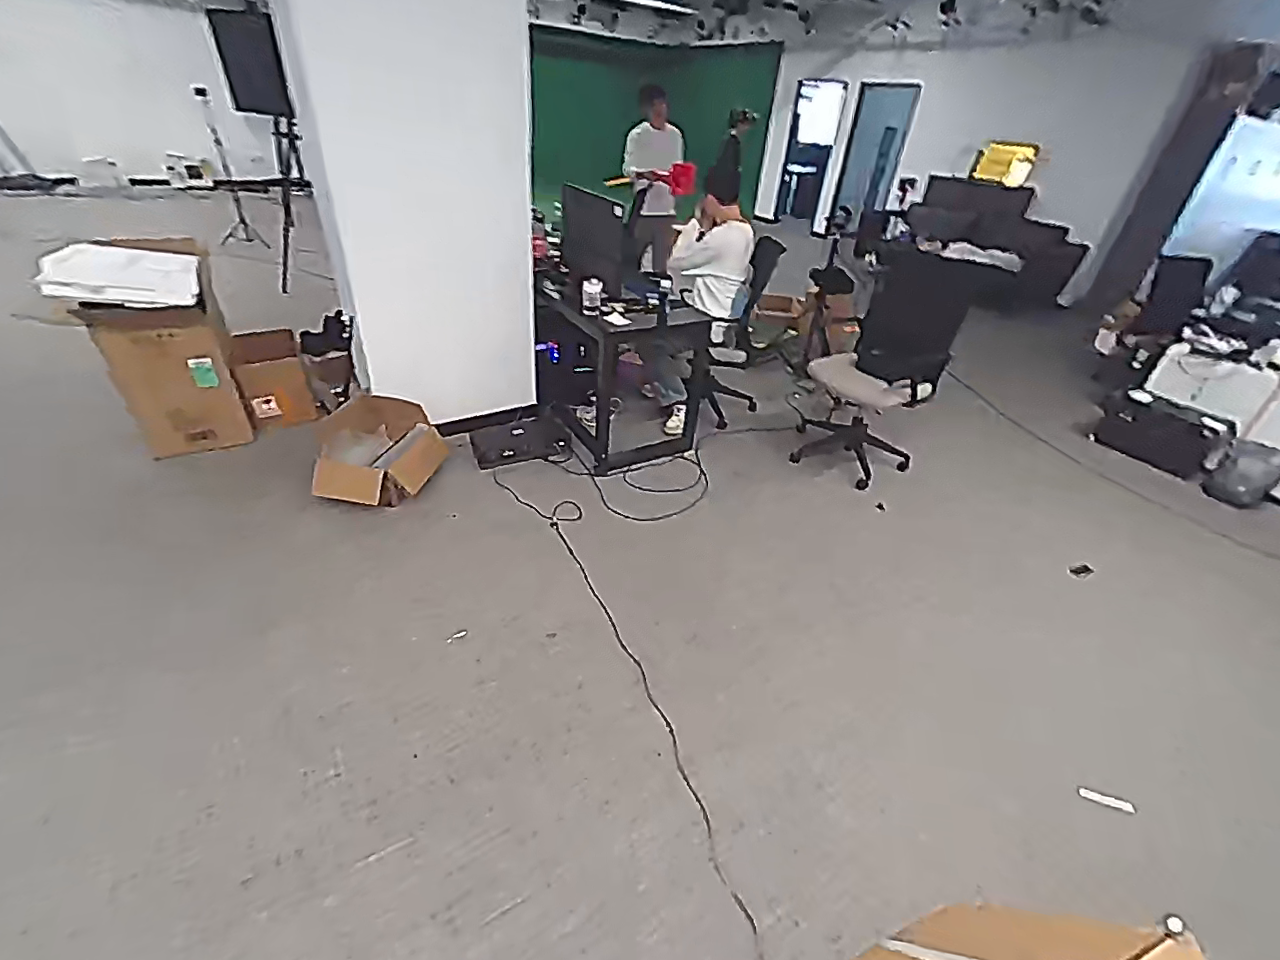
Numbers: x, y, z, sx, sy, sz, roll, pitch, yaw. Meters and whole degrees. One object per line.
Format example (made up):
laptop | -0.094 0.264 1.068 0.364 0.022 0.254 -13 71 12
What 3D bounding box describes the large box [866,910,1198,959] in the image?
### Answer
large box | 0.465 0.755 0.615 0.320 0.408 0.320 -14 60 -18
